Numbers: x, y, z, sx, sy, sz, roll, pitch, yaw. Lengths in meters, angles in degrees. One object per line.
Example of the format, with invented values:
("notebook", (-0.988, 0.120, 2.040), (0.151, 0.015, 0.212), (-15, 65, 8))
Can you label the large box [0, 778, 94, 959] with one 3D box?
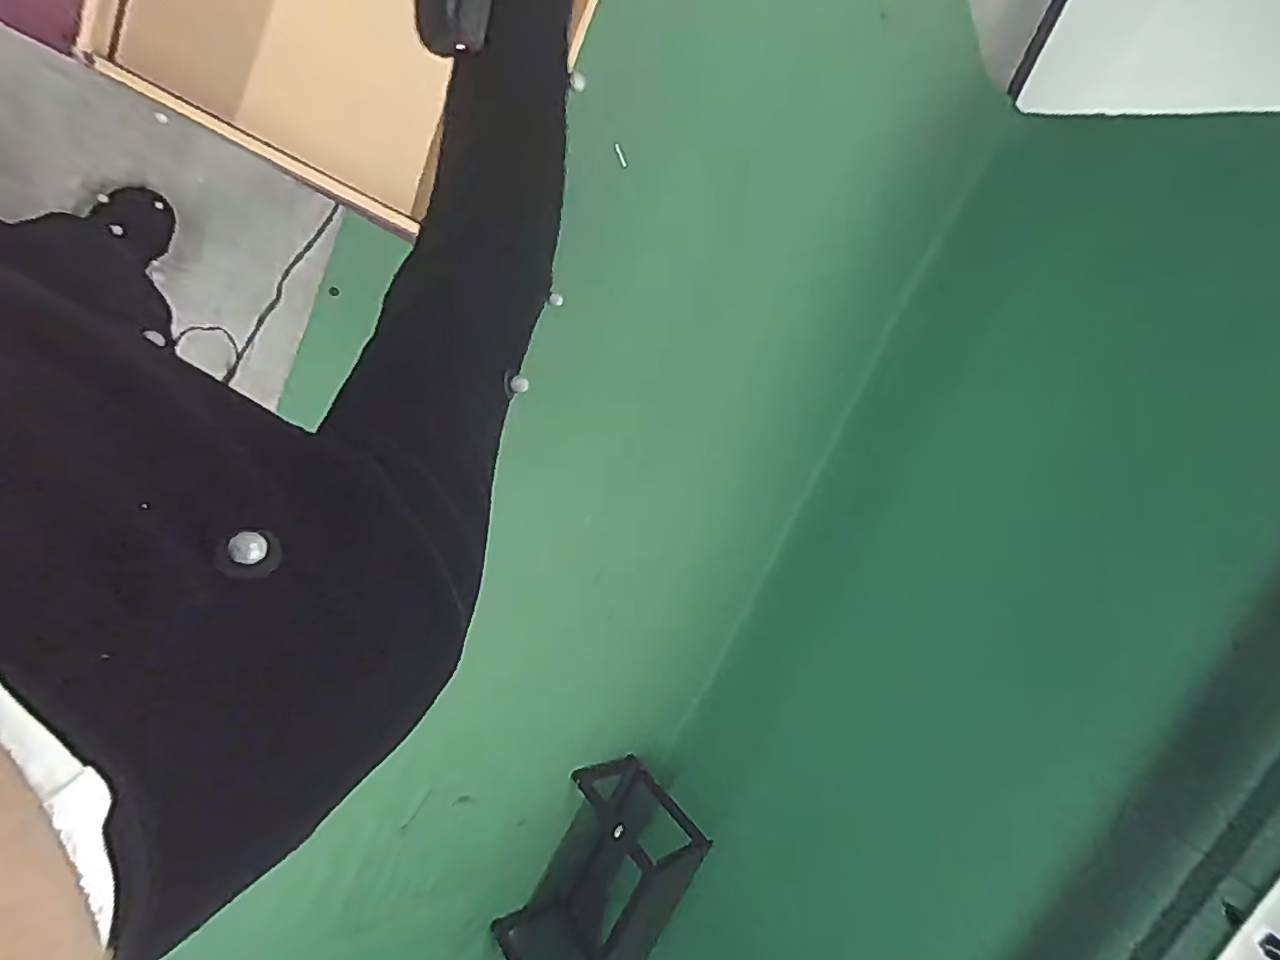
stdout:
("large box", (-1.644, 1.026, 1.284), (0.408, 0.320, 0.320), (-26, 132, -34))
